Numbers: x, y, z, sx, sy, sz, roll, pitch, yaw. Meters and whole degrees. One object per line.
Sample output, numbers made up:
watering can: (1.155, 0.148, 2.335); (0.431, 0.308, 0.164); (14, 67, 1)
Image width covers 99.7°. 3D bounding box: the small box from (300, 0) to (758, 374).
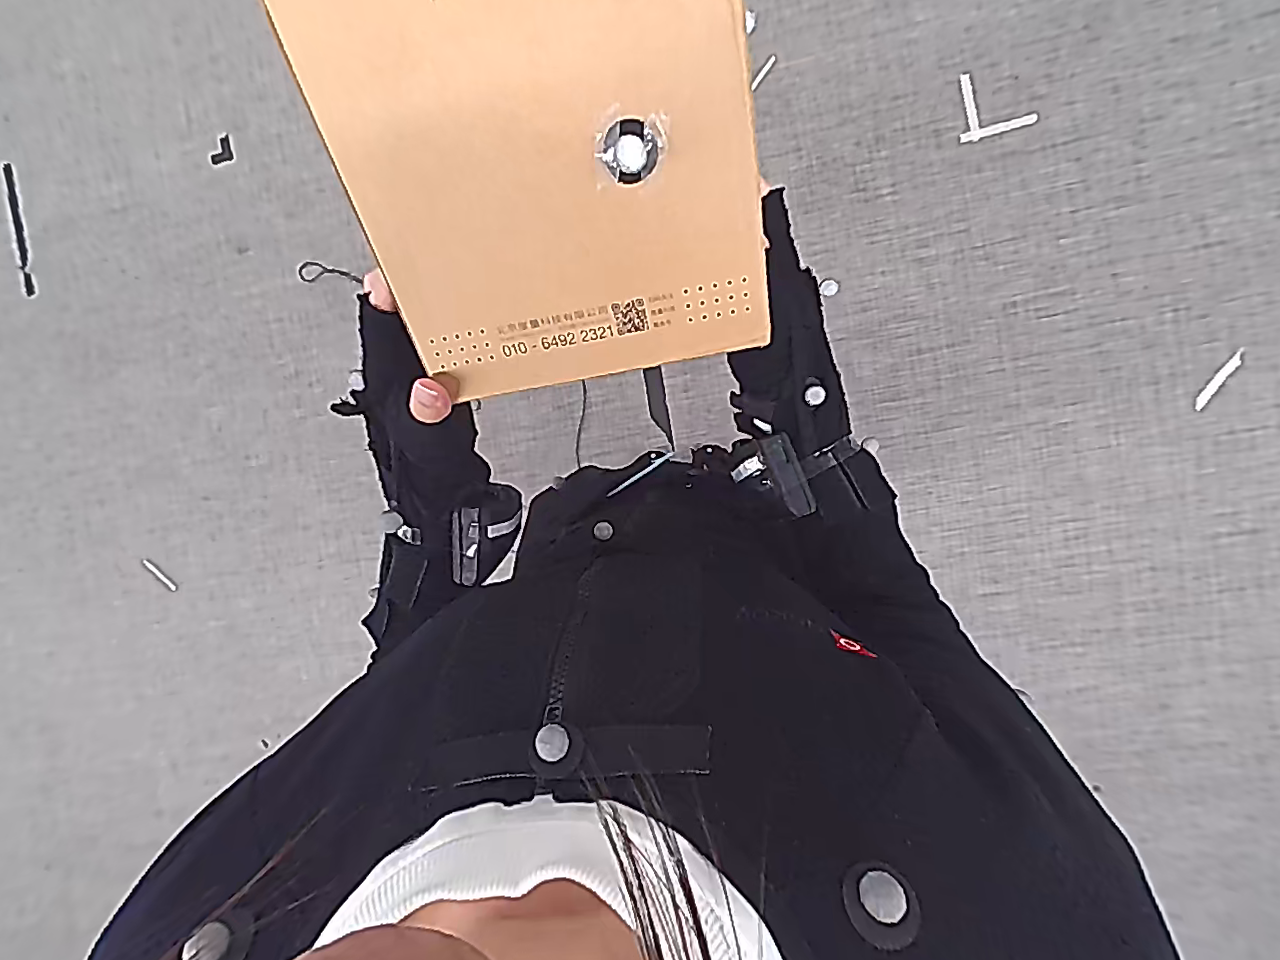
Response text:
small box: (-0.030, -0.169, 0.304); (0.168, 0.179, 0.176); (-8, 123, 9)
